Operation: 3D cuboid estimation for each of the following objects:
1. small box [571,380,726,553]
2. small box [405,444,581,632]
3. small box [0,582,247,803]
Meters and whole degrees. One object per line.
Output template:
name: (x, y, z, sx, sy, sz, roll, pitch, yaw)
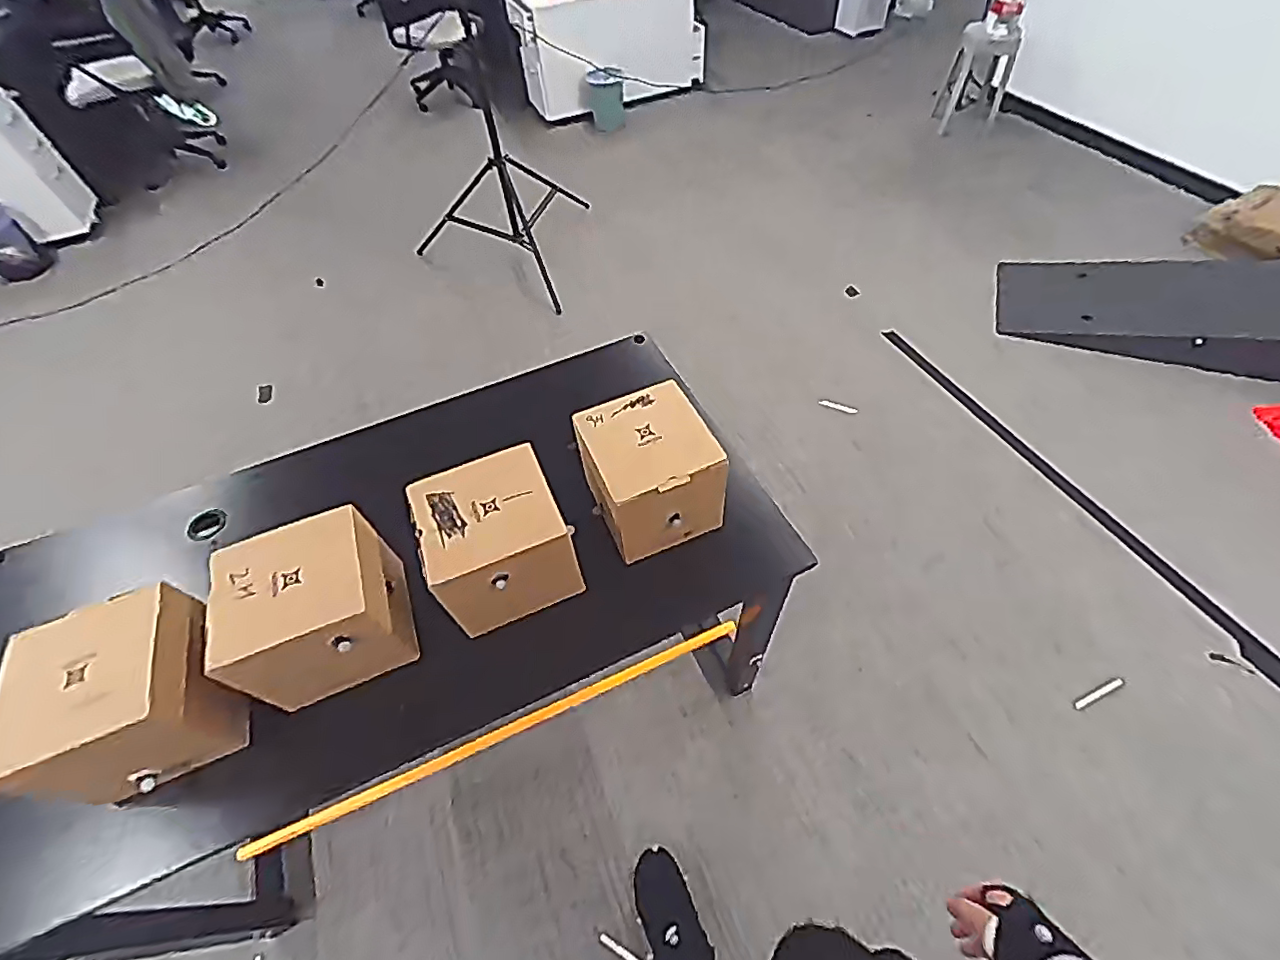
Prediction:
small box: (0.012, -0.011, 0.804, 0.168, 0.176, 0.179, -20, 56, -11)
small box: (-0.197, 0.085, 0.749, 0.179, 0.176, 0.168, -21, 55, -12)
small box: (-0.612, 0.259, 0.652, 0.168, 0.176, 0.179, -23, 57, -11)
